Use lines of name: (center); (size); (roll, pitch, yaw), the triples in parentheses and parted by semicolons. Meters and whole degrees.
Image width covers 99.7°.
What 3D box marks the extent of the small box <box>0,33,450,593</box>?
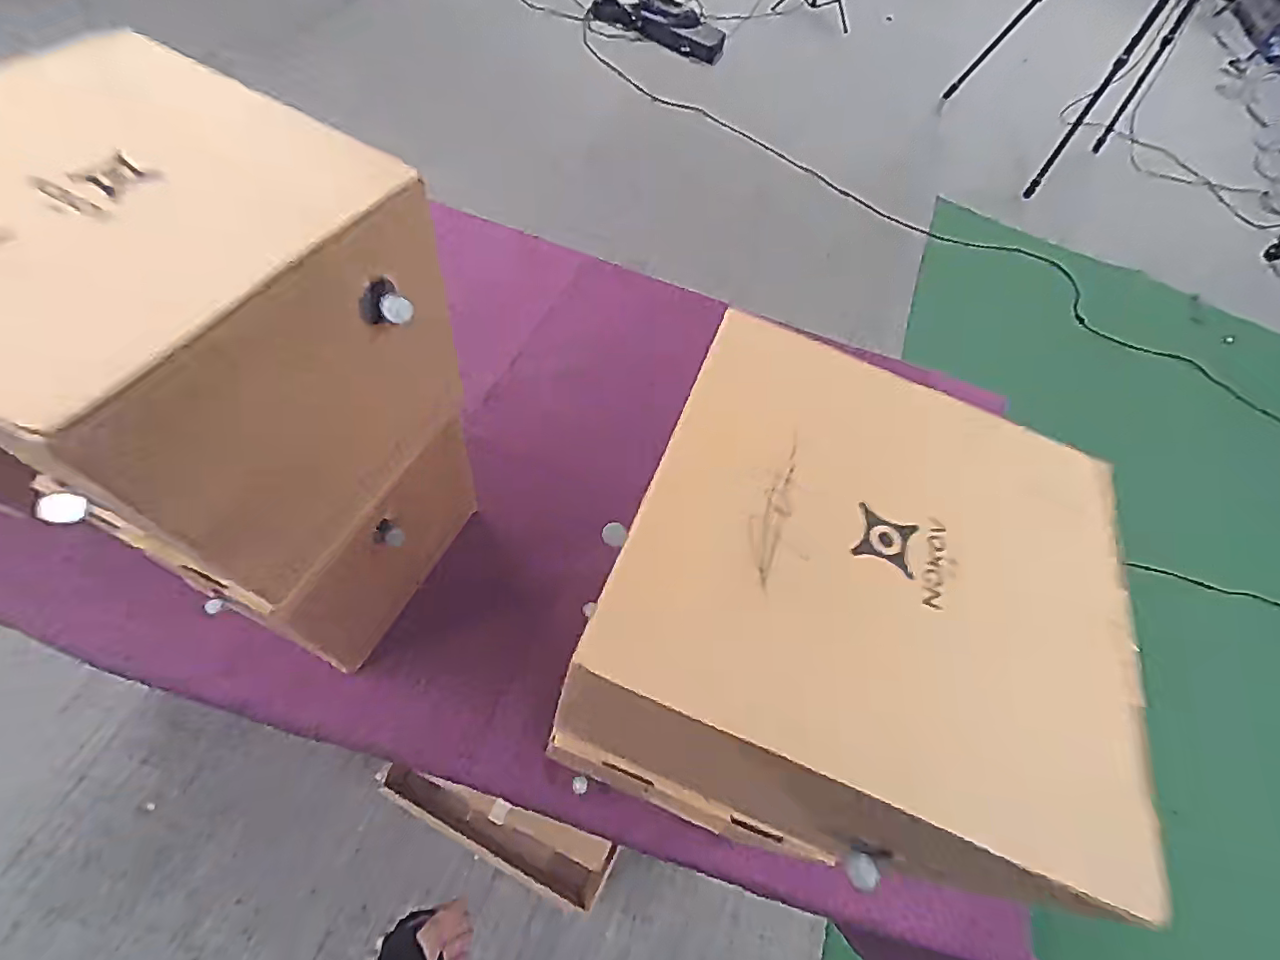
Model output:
small box: (-0.218, -0.071, 0.277); (0.168, 0.176, 0.179); (28, 61, 5)

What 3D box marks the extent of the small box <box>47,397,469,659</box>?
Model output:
small box: (-0.250, 0.012, 0.416); (0.168, 0.176, 0.179); (27, 61, 4)

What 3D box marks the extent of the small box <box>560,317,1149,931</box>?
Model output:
small box: (0.075, 0.064, 0.259); (0.179, 0.176, 0.168); (24, 59, 3)

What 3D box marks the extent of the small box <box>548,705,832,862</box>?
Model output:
small box: (0.043, 0.142, 0.399); (0.168, 0.176, 0.179); (23, 59, 2)
